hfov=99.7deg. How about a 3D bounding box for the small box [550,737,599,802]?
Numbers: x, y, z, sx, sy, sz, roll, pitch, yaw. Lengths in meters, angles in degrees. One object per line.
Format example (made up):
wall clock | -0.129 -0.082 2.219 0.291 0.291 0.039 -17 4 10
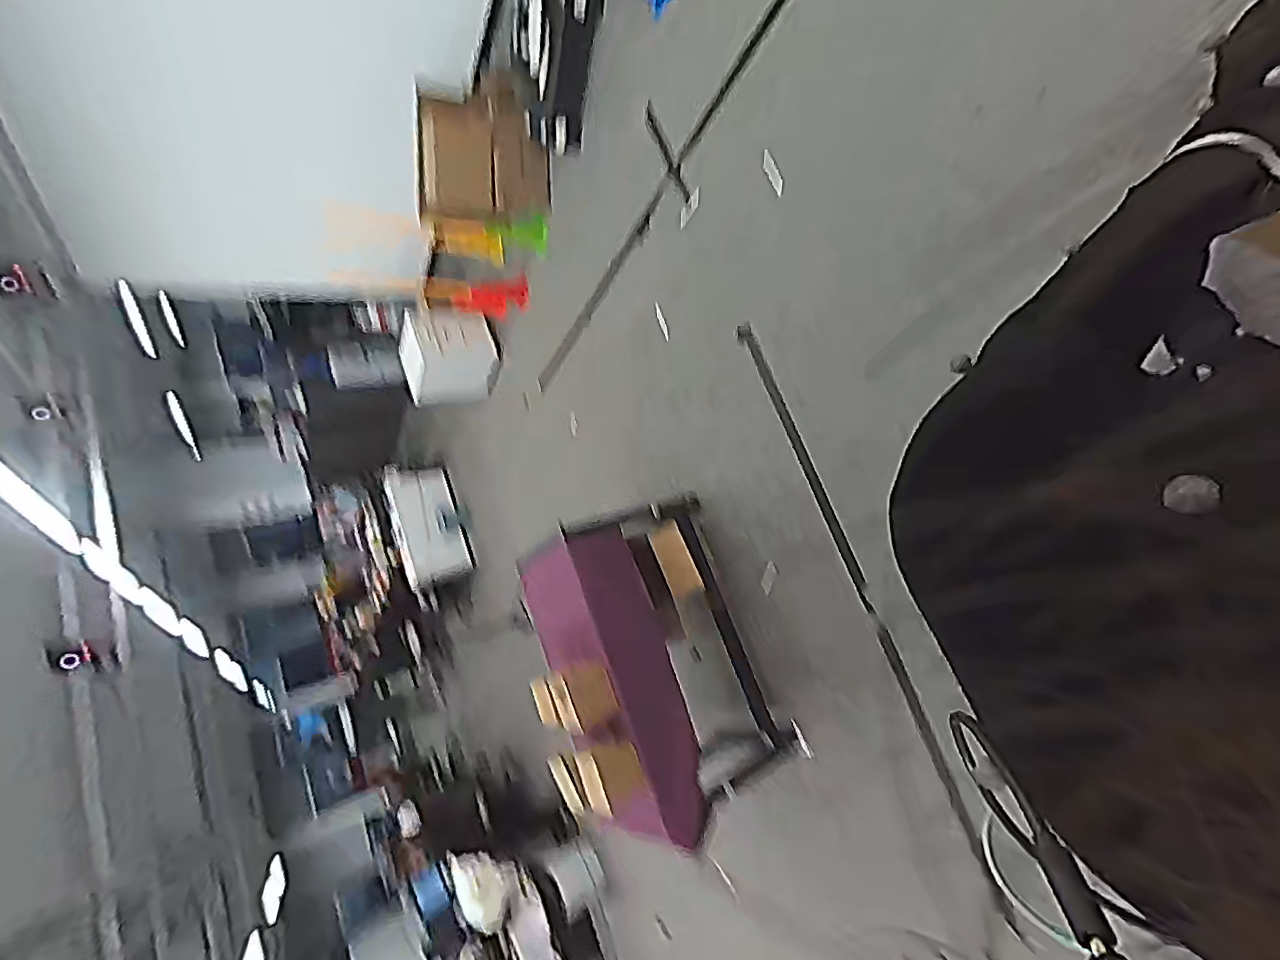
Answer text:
small box | -0.229 1.149 2.152 0.168 0.176 0.179 -41 66 51

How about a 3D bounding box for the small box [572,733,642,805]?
small box | -0.117 1.044 1.964 0.168 0.176 0.179 -38 69 52
